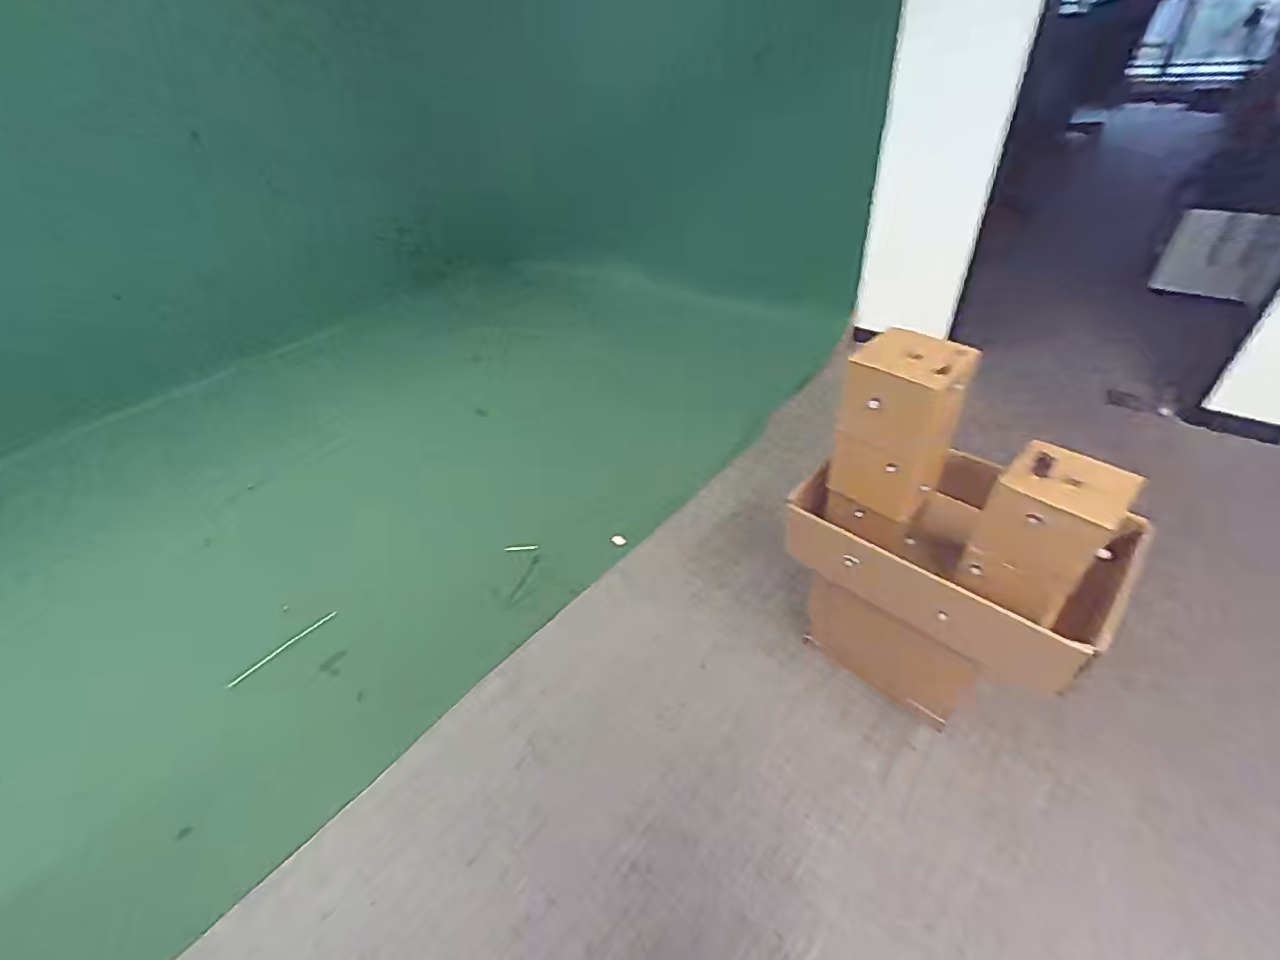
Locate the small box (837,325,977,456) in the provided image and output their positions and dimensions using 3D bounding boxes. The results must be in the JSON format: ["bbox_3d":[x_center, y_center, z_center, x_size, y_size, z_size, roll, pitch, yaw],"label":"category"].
[{"bbox_3d":[0.505,-0.173,1.048,0.168,0.176,0.179,-36,48,-26],"label":"small box"}]

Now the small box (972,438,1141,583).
[{"bbox_3d":[0.749,0.056,0.992,0.168,0.176,0.179,-35,49,-27],"label":"small box"}]

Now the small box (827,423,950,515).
[{"bbox_3d":[0.525,-0.056,1.162,0.168,0.176,0.179,-37,50,-27],"label":"small box"}]

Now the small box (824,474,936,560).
[{"bbox_3d":[0.556,0.057,1.276,0.168,0.176,0.179,-37,50,-27],"label":"small box"}]
